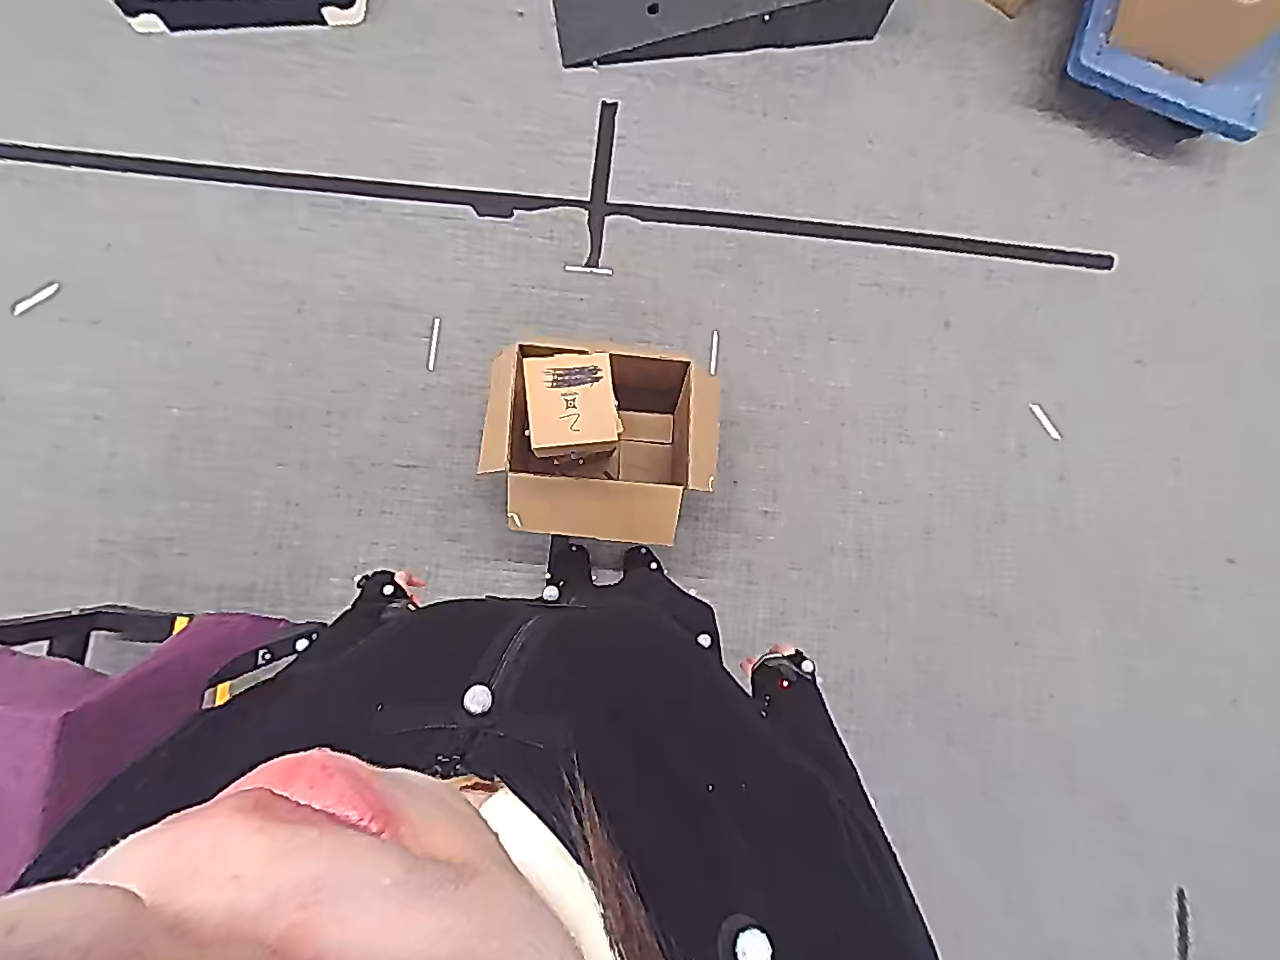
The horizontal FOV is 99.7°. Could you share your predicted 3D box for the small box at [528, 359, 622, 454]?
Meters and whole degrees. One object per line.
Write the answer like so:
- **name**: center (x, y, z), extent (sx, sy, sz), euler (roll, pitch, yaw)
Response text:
- **small box**: center (-0.151, -0.164, 1.270), extent (0.179, 0.176, 0.168), euler (-16, 88, -8)
